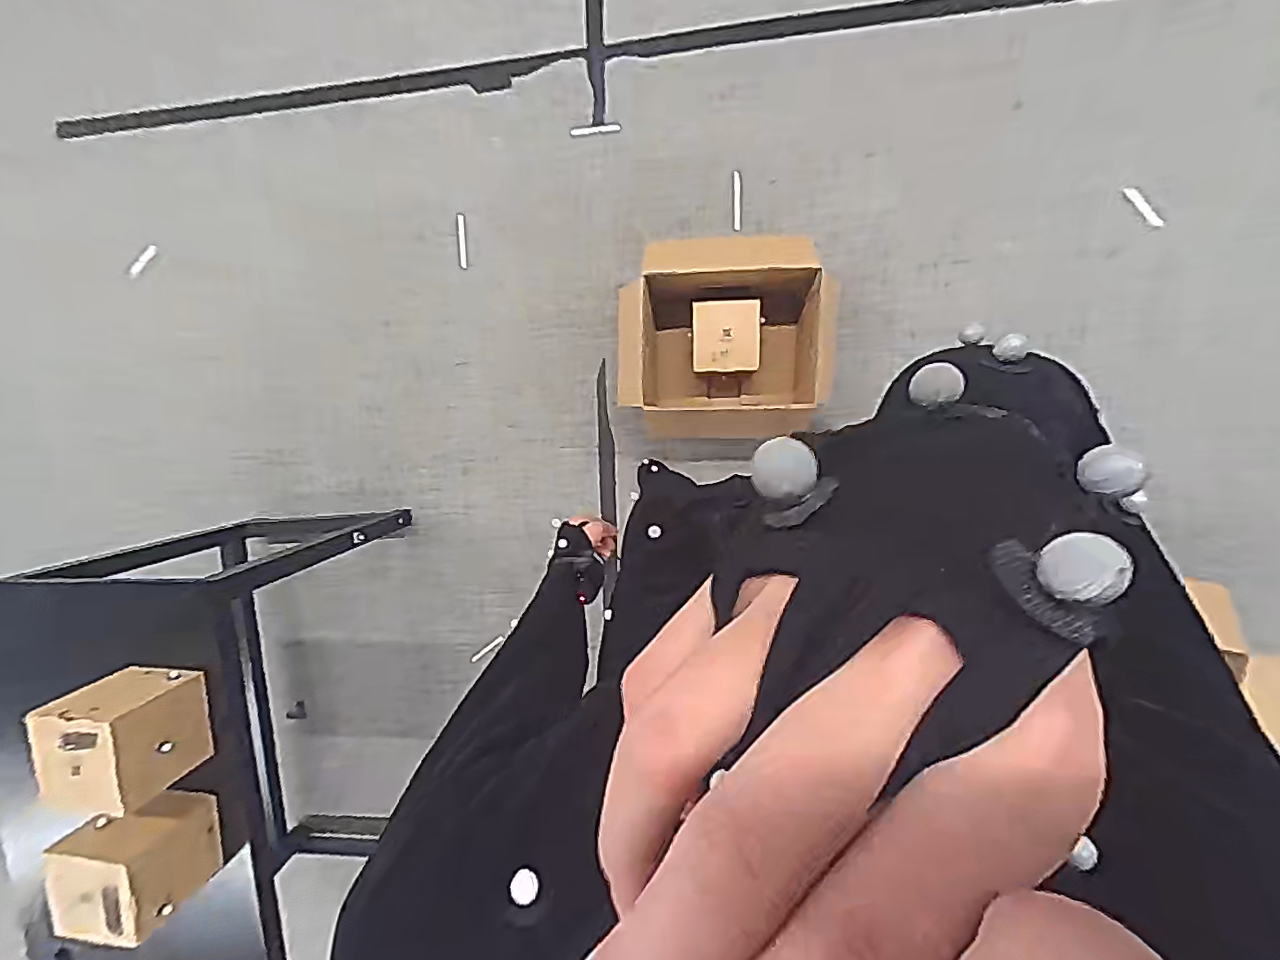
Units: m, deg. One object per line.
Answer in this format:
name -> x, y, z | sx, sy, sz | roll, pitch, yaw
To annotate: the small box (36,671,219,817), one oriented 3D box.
small box -> -0.916, 0.467, 0.982 | 0.168, 0.176, 0.179 | 1, 99, 9
